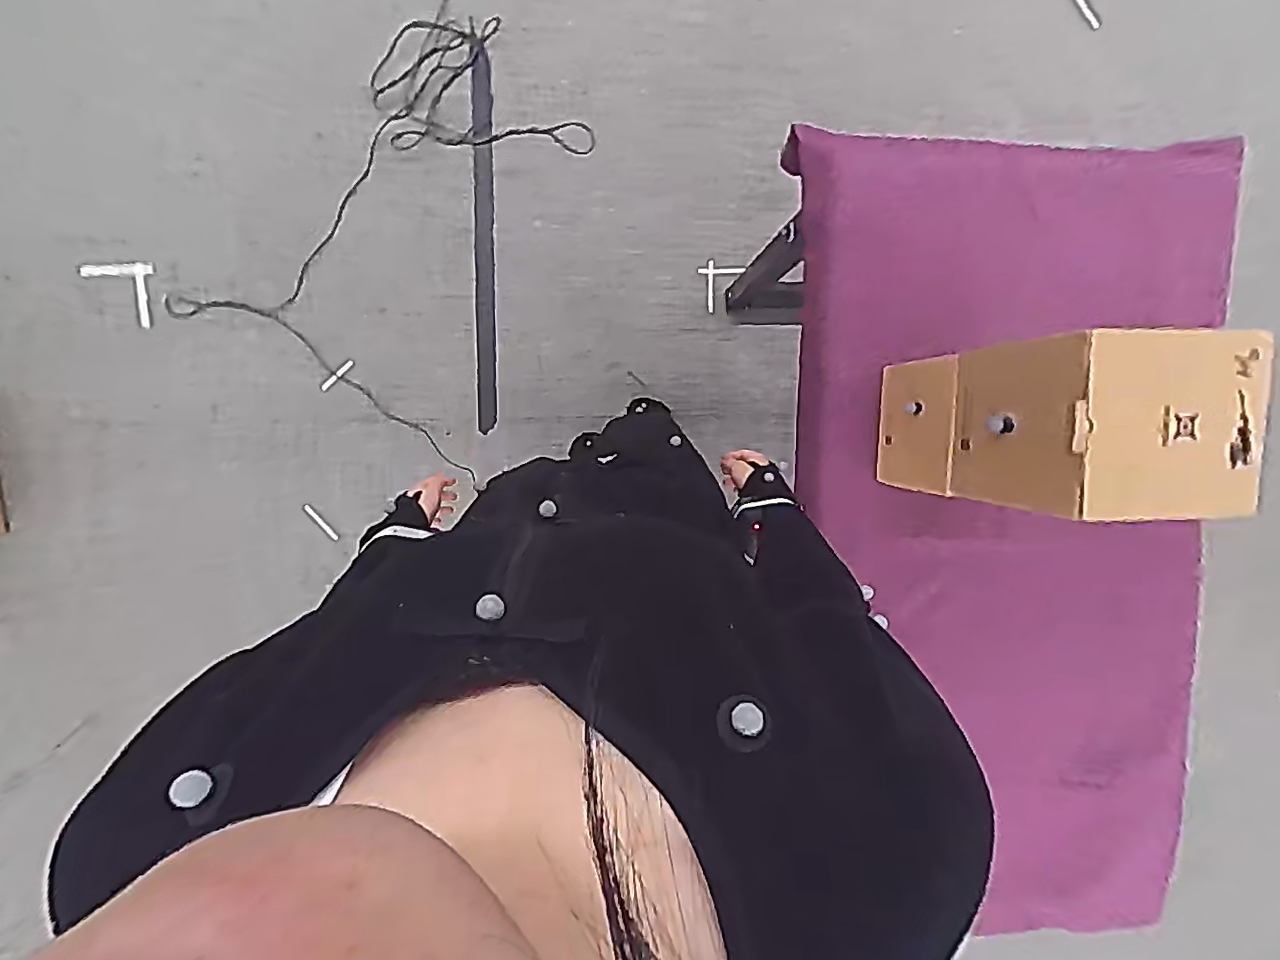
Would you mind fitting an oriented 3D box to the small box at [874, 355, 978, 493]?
[{"bbox_3d":[0.437,-0.070,0.723,0.179,0.176,0.168,1,96,-6],"label":"small box"}]

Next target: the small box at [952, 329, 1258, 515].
[{"bbox_3d":[0.456,-0.057,0.560,0.179,0.176,0.168,-1,96,-5],"label":"small box"}]
